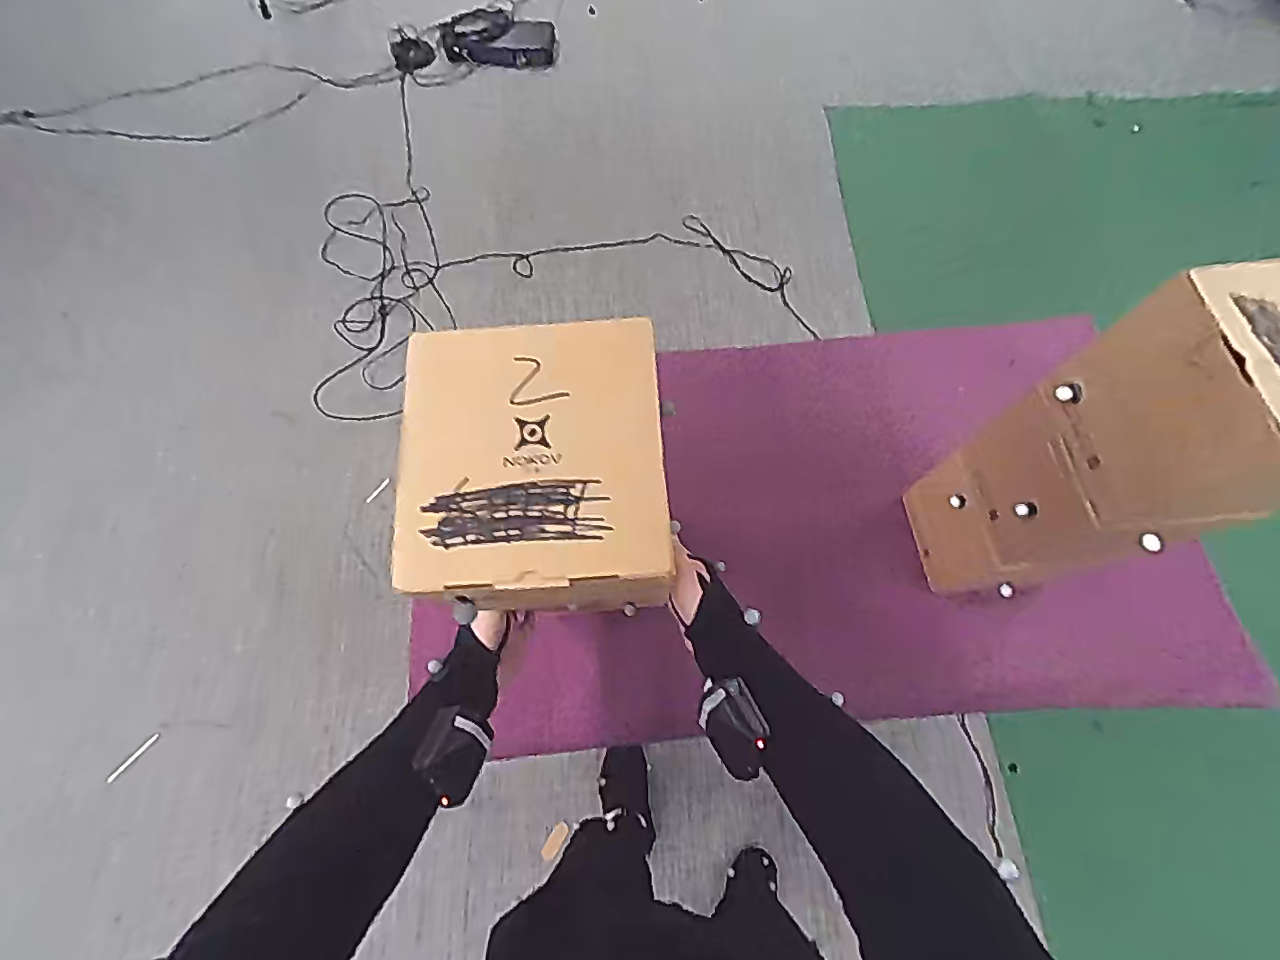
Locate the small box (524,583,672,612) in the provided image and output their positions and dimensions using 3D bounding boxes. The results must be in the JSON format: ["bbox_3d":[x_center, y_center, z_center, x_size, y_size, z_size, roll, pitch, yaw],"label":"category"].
[{"bbox_3d":[-0.055,0.086,0.734,0.179,0.176,0.168,-5,72,0],"label":"small box"}]

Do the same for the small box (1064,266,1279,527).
[{"bbox_3d":[0.520,-0.063,0.470,0.179,0.176,0.168,-5,69,-1],"label":"small box"}]

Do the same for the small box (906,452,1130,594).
[{"bbox_3d":[0.519,0.062,0.773,0.179,0.176,0.168,-5,68,-2],"label":"small box"}]

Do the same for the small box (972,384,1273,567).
[{"bbox_3d":[0.519,0.000,0.622,0.179,0.176,0.168,-4,69,-1],"label":"small box"}]

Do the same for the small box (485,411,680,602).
[{"bbox_3d":[-0.056,0.038,0.580,0.179,0.176,0.168,-6,74,0],"label":"small box"}]
